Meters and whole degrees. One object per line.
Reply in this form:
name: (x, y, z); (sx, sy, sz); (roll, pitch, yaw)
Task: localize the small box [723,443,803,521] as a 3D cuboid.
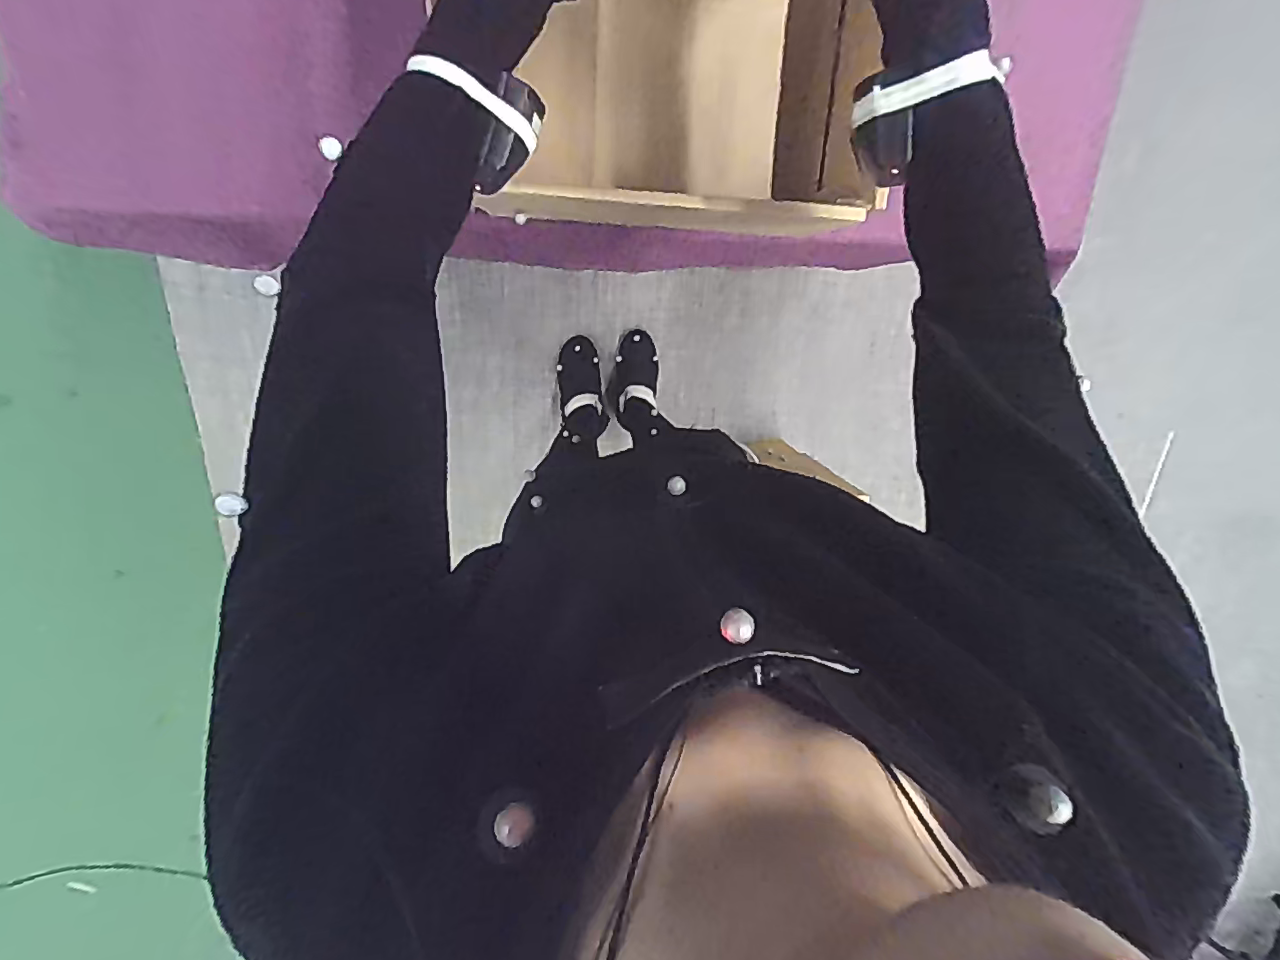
small box: (0.327, 0.002, 1.473); (0.179, 0.176, 0.168); (-5, 108, -4)

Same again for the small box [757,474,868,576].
small box: (0.358, 0.090, 1.157); (0.168, 0.176, 0.179); (2, 107, -6)
